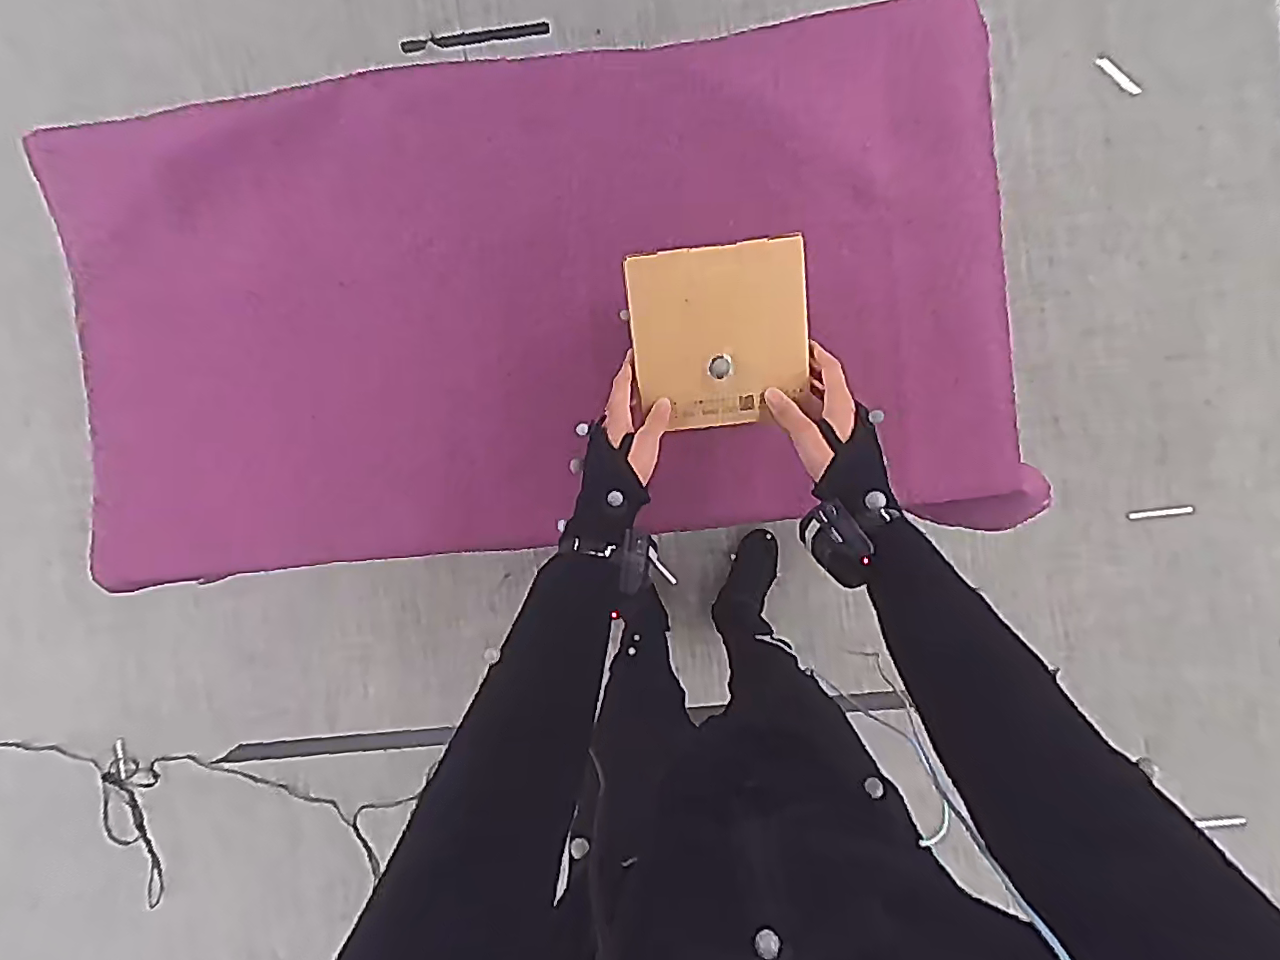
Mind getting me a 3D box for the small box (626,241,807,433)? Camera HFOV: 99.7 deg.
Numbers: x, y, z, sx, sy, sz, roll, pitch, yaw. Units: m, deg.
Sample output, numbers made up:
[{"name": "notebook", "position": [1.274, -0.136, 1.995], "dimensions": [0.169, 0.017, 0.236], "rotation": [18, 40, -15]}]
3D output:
[{"name": "small box", "position": [0.080, -0.146, 0.596], "dimensions": [0.168, 0.179, 0.176], "rotation": [-6, 101, 4]}]
